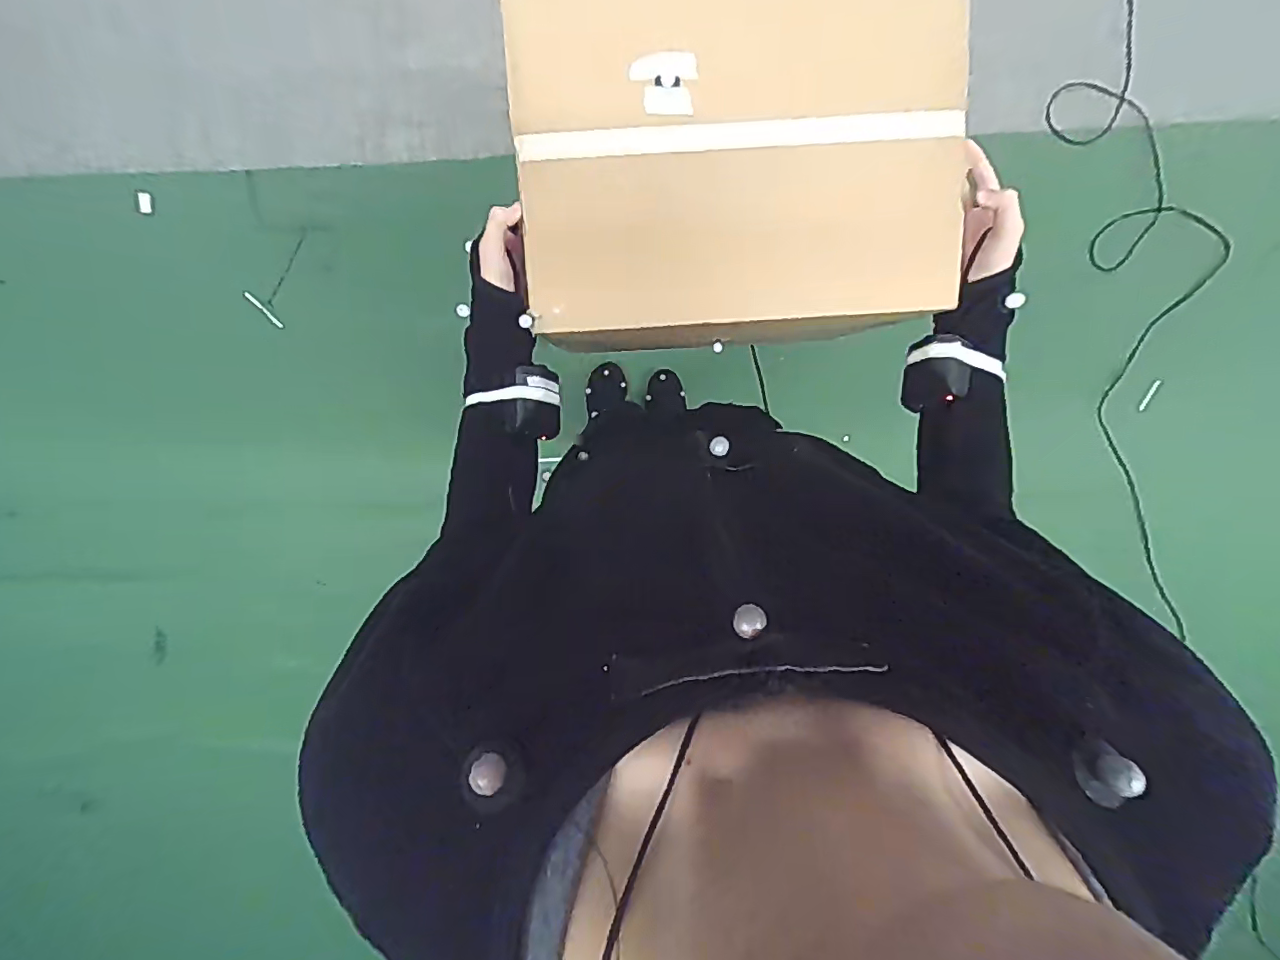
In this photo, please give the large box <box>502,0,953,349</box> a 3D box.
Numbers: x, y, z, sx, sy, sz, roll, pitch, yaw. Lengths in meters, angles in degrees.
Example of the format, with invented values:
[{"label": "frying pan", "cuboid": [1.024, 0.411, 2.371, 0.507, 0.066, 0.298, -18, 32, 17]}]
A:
[{"label": "large box", "cuboid": [0.085, -0.331, 0.642, 0.408, 0.320, 0.320, -4, 100, -1]}]
